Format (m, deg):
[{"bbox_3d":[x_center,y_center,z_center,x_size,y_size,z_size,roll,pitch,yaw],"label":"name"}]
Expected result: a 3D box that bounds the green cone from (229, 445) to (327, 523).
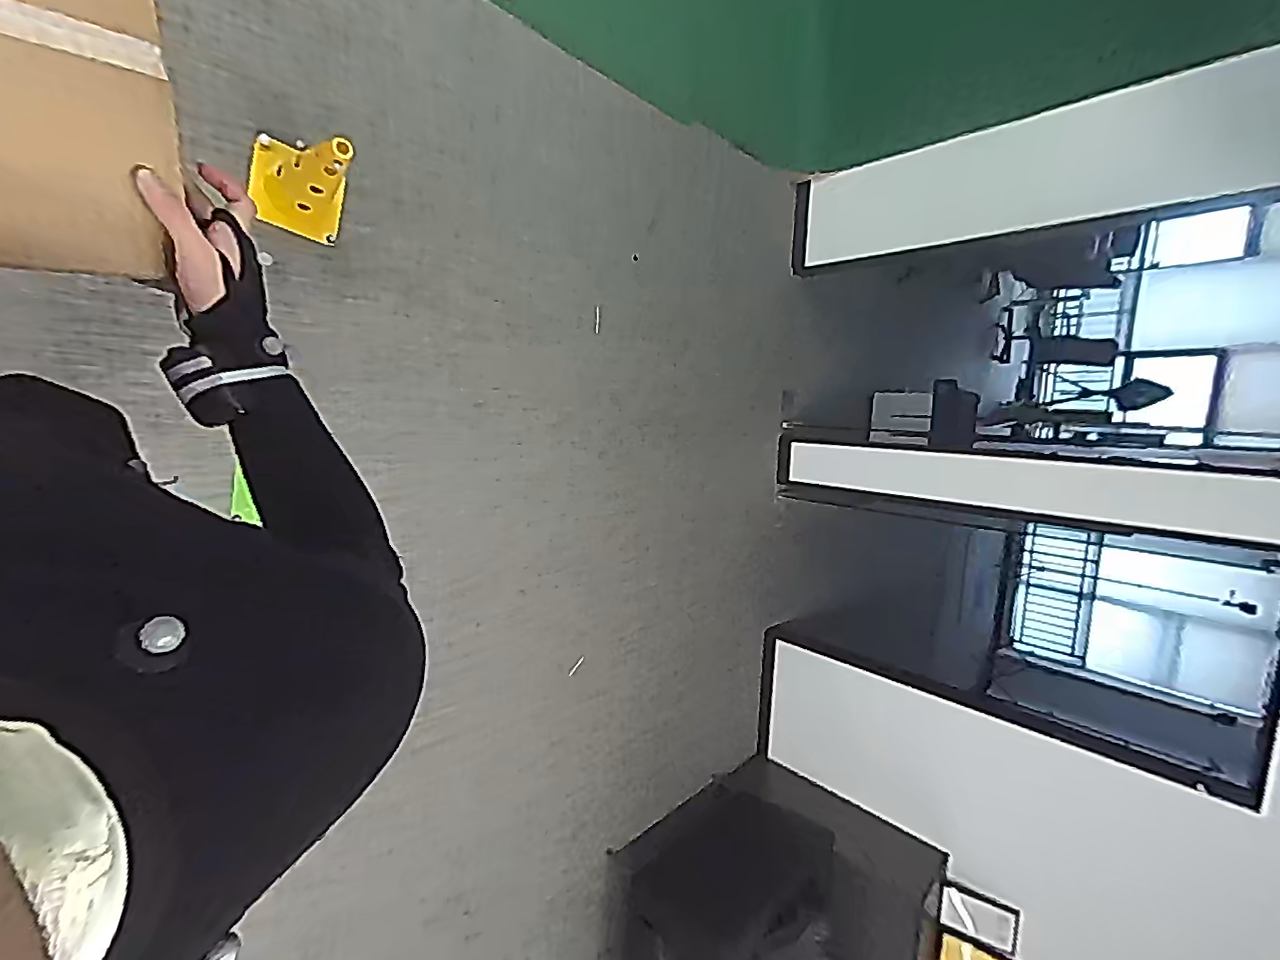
[{"bbox_3d":[-0.824,0.031,1.296,0.200,0.368,0.202,4,93,-46],"label":"green cone"}]
